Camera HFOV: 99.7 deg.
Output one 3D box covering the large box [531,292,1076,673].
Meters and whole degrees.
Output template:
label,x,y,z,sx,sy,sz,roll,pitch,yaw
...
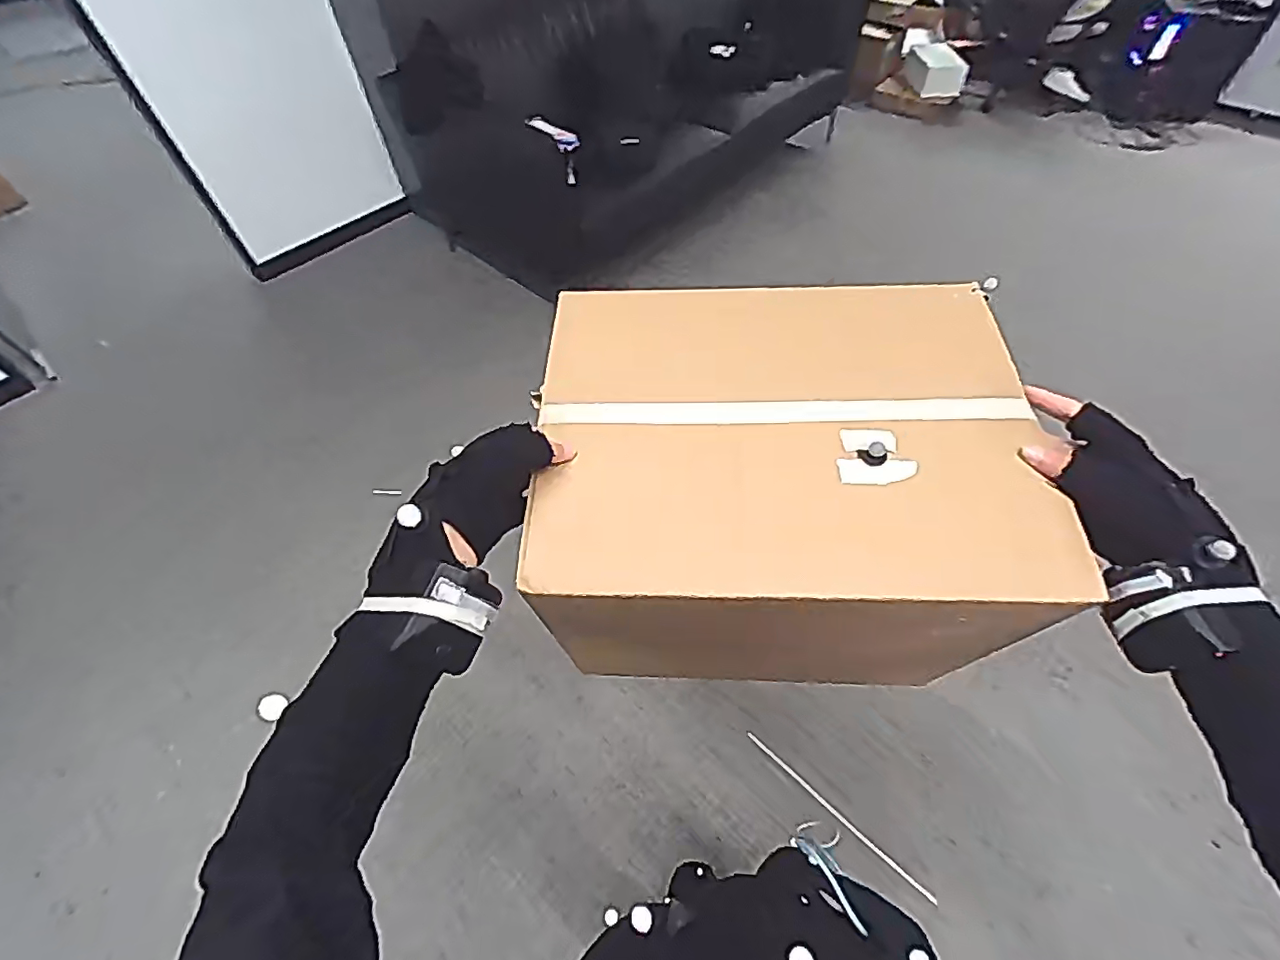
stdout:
label,x,y,z,sx,sy,sz,roll,pitch,yaw
large box,0.121,0.022,0.594,0.408,0.320,0.320,0,60,2
